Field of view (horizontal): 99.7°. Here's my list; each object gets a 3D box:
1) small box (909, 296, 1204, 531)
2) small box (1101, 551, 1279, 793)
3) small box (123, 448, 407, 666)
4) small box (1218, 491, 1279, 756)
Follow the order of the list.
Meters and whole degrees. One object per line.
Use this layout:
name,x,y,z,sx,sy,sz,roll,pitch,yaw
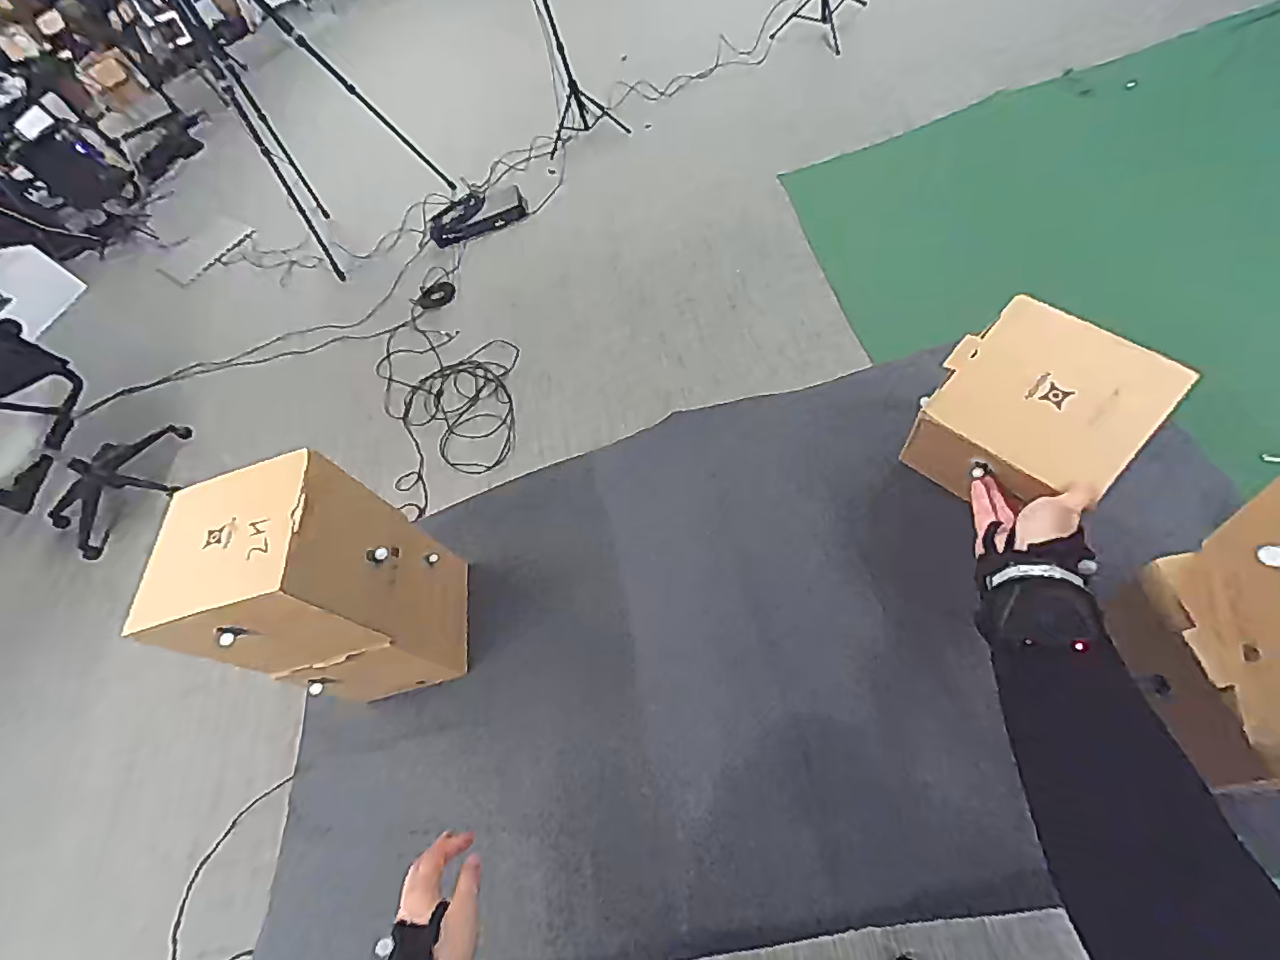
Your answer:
small box,0.433,-0.061,0.605,0.179,0.176,0.168,40,90,23
small box,0.539,0.161,0.455,0.179,0.176,0.168,-12,56,12
small box,-0.392,0.095,0.601,0.179,0.176,0.168,-16,57,7
small box,0.499,0.088,0.316,0.179,0.176,0.168,7,60,22
